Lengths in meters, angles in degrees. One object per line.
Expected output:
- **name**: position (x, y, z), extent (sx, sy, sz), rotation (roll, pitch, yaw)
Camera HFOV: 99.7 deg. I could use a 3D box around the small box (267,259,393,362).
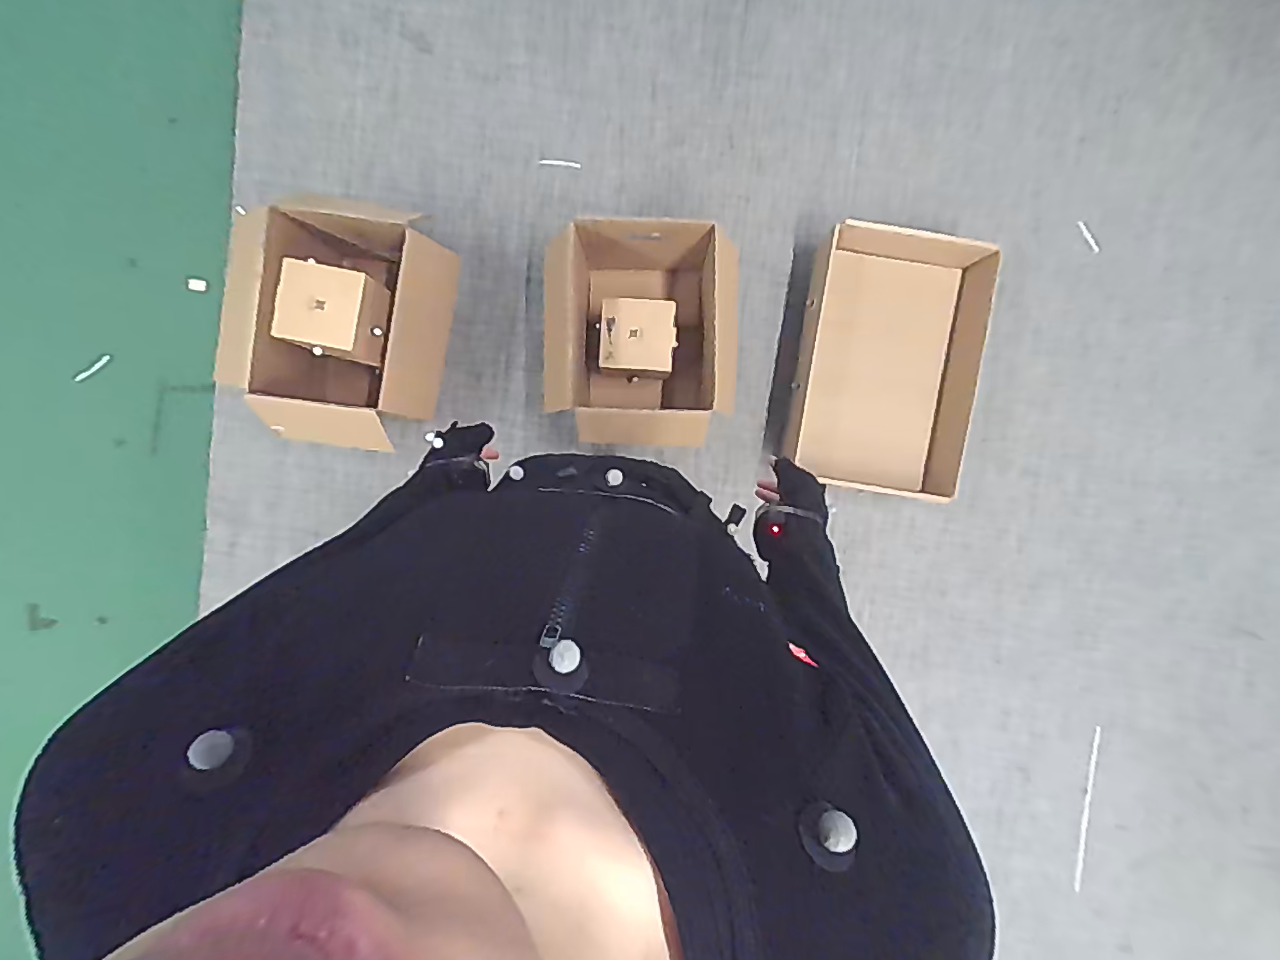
- **small box**: position (-0.676, -0.365, 1.198), extent (0.179, 0.176, 0.168), rotation (10, 92, -1)
